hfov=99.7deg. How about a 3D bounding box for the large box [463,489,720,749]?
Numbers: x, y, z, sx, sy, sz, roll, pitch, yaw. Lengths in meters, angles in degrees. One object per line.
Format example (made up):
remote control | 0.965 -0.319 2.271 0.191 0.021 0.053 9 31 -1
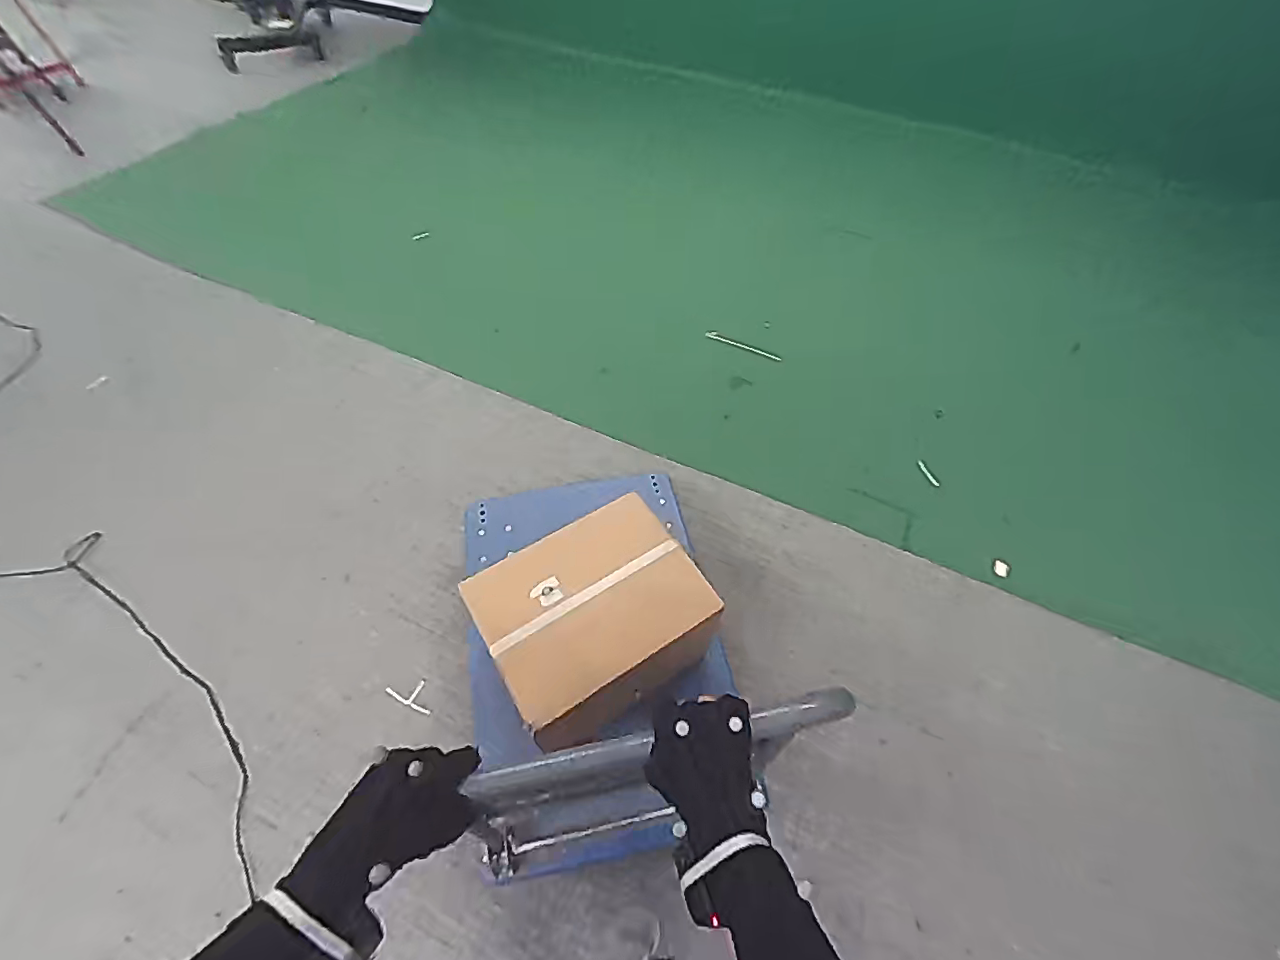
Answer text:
large box | -0.095 0.294 1.145 0.408 0.320 0.320 -28 60 -19
